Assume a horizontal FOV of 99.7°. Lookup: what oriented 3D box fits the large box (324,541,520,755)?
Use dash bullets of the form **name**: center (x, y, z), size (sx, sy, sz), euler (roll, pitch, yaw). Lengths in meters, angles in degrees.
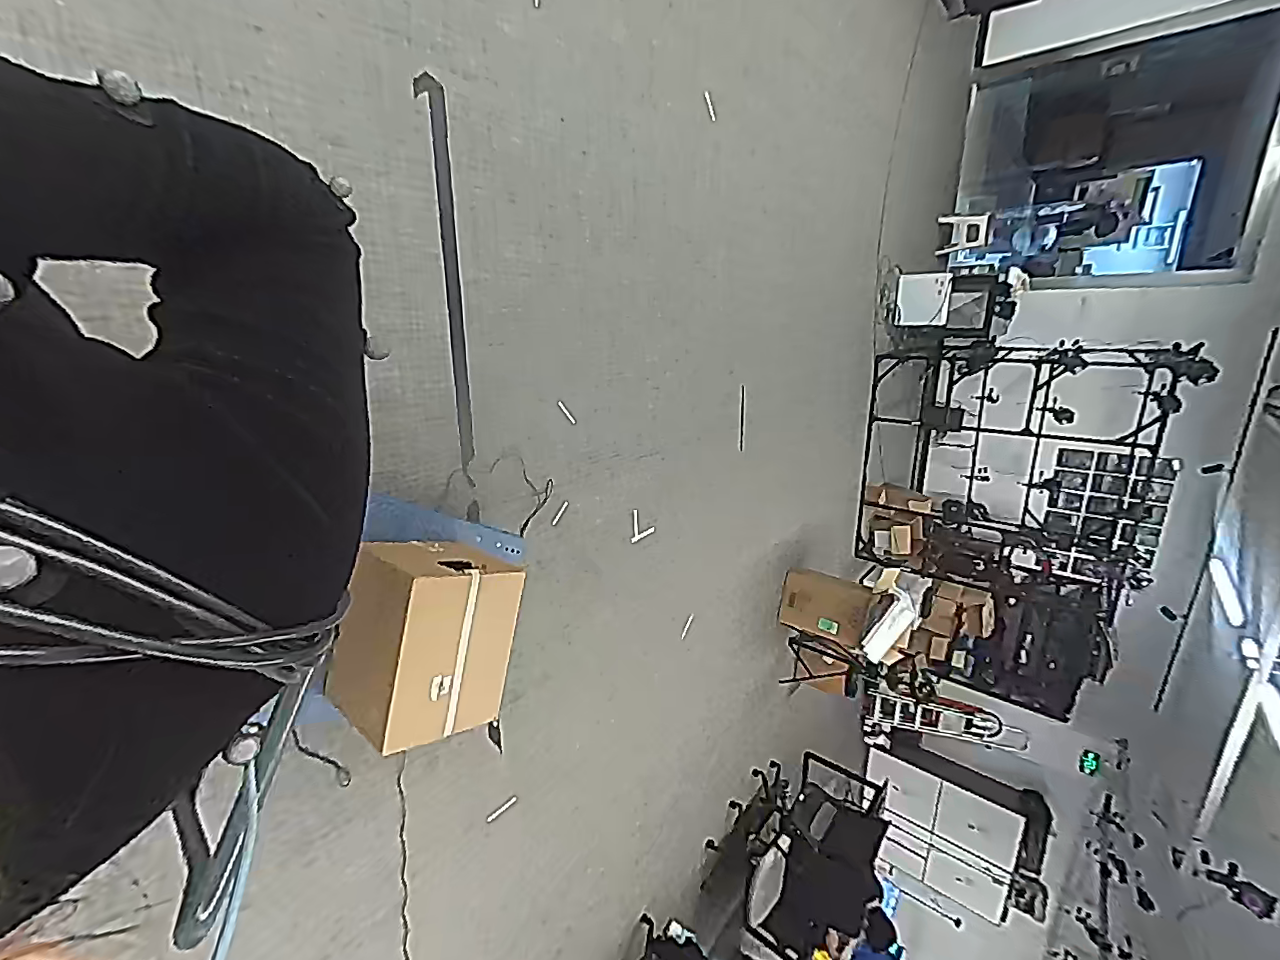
- **large box**: center (-0.549, 0.387, 1.365), size (0.320, 0.320, 0.408), euler (9, 94, -52)
